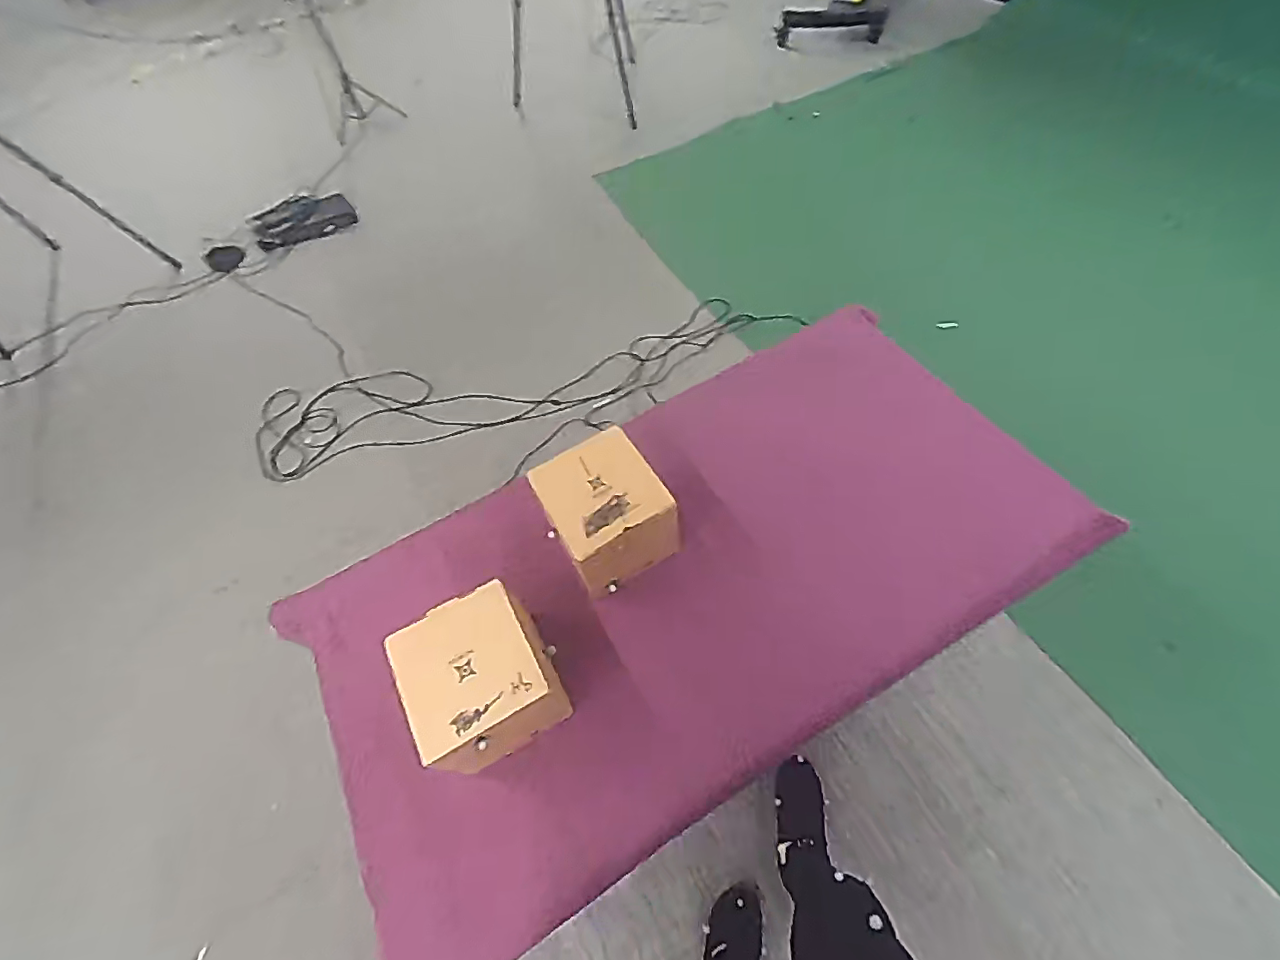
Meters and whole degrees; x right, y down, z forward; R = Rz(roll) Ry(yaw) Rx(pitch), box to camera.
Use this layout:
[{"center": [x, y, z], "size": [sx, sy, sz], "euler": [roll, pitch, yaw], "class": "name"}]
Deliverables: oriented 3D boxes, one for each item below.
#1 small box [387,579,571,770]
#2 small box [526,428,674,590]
[{"center": [-0.215, 0.274, 0.750], "size": [0.168, 0.176, 0.179], "euler": [-29, 60, -10], "class": "small box"}, {"center": [-0.056, 0.056, 0.871], "size": [0.168, 0.176, 0.179], "euler": [-29, 60, -12], "class": "small box"}]
